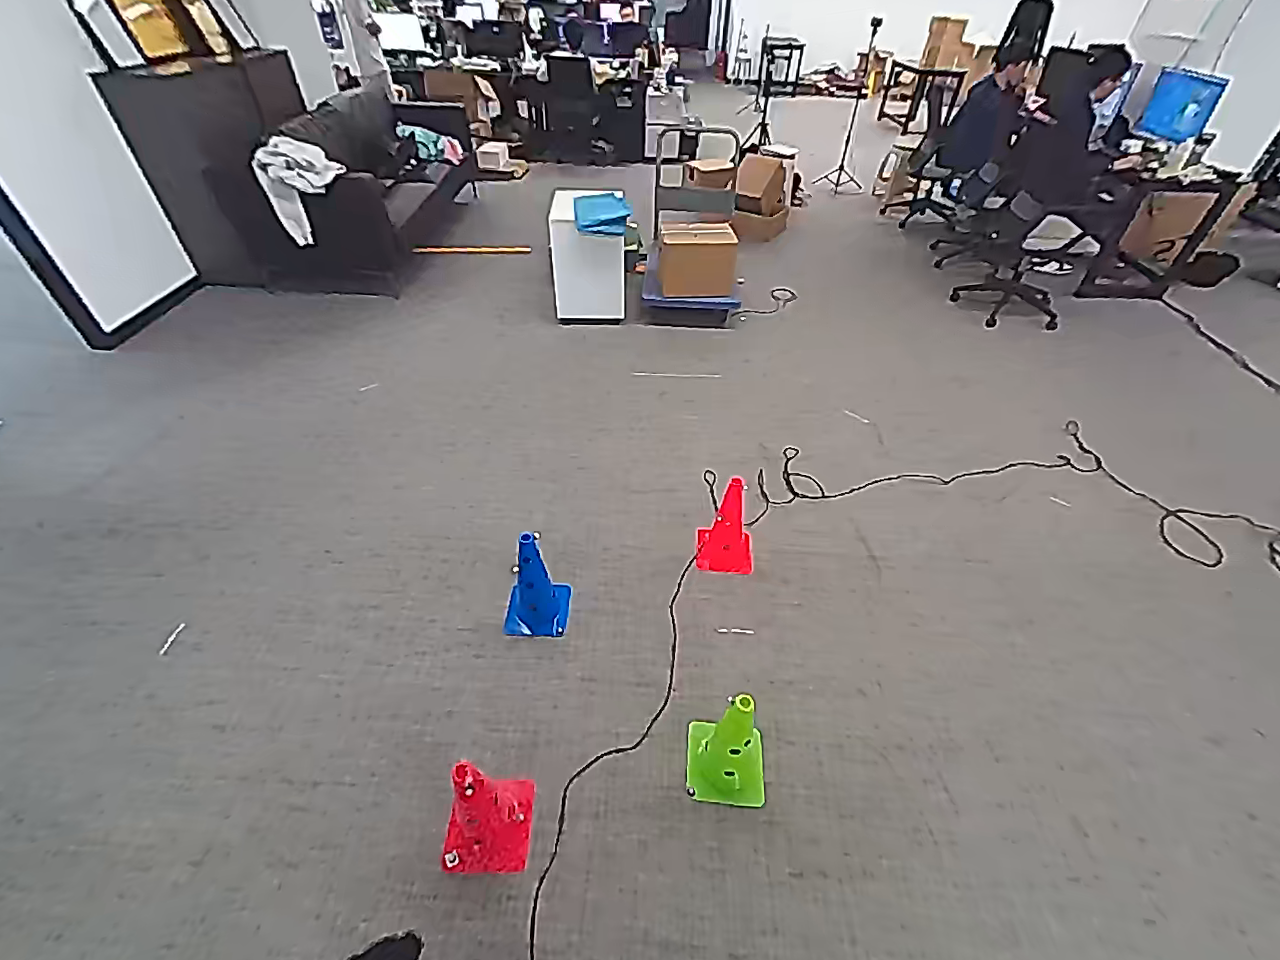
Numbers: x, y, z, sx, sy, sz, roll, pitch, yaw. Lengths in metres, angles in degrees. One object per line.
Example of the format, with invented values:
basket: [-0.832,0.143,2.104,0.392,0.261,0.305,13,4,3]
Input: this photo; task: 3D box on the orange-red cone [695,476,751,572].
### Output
orange-red cone: [0.305,0.128,1.860,0.198,0.360,0.199,5,44,5]

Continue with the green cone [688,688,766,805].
green cone: [0.234,0.619,1.322,0.200,0.368,0.202,4,42,2]
